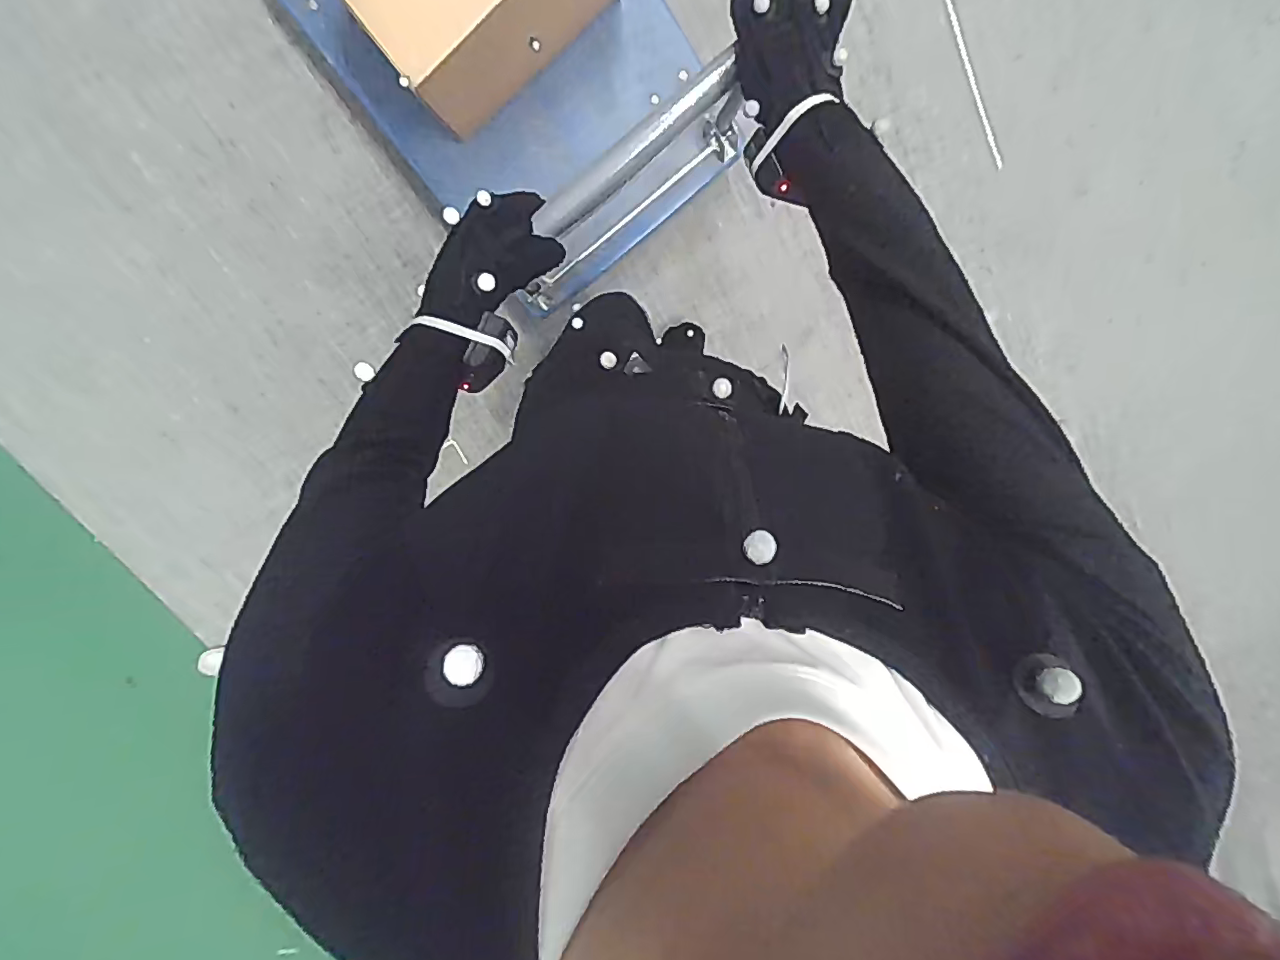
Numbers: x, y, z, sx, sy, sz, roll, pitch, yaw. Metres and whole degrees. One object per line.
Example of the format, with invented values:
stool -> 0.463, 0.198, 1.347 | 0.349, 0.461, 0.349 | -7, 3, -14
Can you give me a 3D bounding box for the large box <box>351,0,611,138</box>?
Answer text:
large box -> -0.271, -0.863, 0.874 | 0.408, 0.320, 0.320 | -38, 106, 10
